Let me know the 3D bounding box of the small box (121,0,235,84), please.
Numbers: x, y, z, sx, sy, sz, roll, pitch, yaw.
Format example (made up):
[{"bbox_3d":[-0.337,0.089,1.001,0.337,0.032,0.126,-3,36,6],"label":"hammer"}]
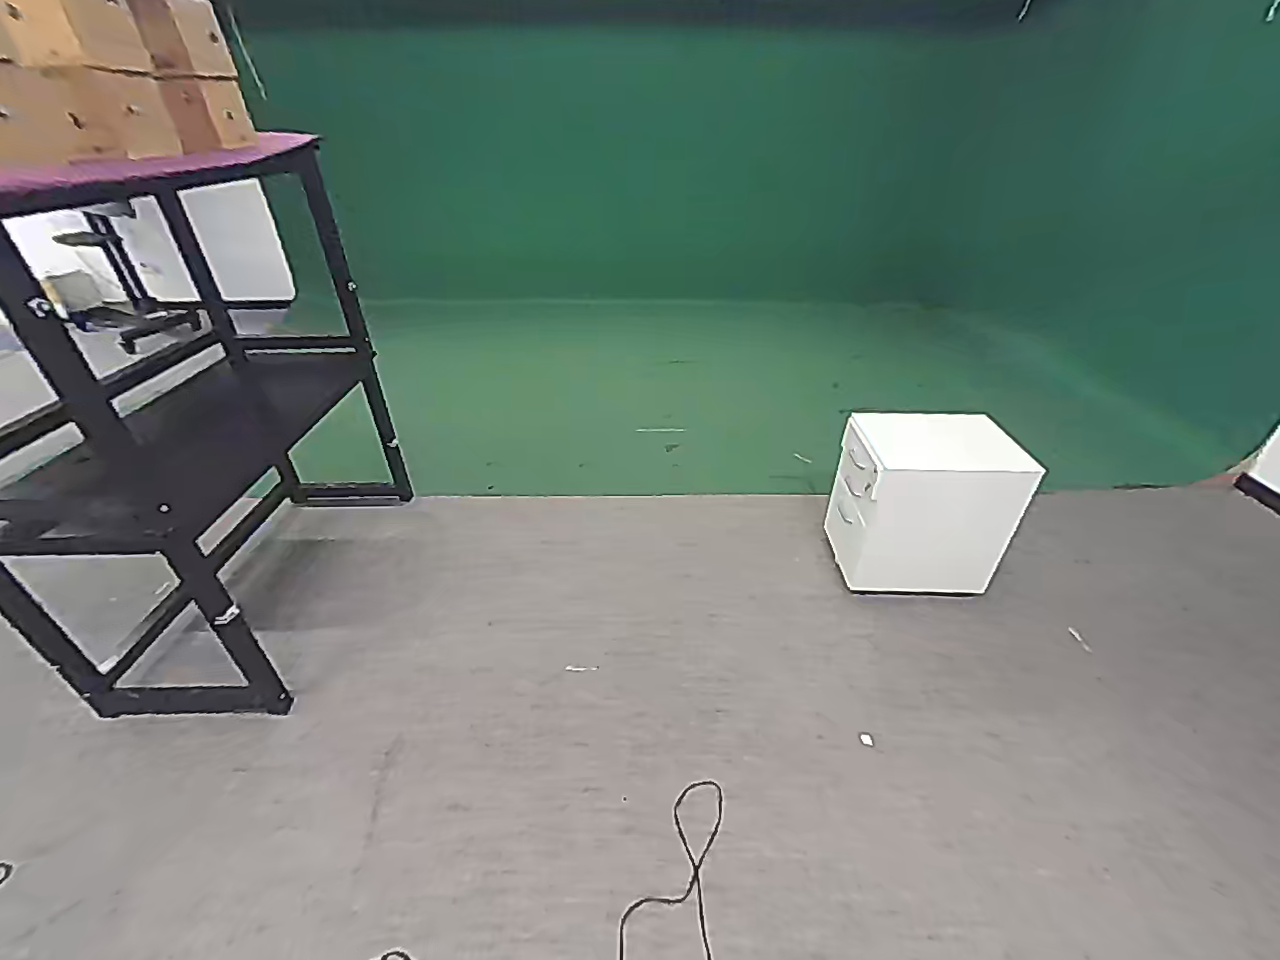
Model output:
[{"bbox_3d":[-1.220,-1.146,1.424,0.168,0.176,0.179,-2,37,2],"label":"small box"}]

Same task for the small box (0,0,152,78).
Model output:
[{"bbox_3d":[-1.214,-0.960,1.152,0.168,0.176,0.179,2,33,3],"label":"small box"}]

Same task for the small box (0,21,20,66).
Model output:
[{"bbox_3d":[-1.189,-0.770,0.865,0.168,0.176,0.179,-2,33,-4],"label":"small box"}]

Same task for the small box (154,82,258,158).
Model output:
[{"bbox_3d":[-1.229,-1.015,1.521,0.179,0.176,0.168,-1,35,2],"label":"small box"}]

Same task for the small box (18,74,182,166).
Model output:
[{"bbox_3d":[-1.217,-0.822,1.240,0.168,0.176,0.179,1,34,1],"label":"small box"}]
